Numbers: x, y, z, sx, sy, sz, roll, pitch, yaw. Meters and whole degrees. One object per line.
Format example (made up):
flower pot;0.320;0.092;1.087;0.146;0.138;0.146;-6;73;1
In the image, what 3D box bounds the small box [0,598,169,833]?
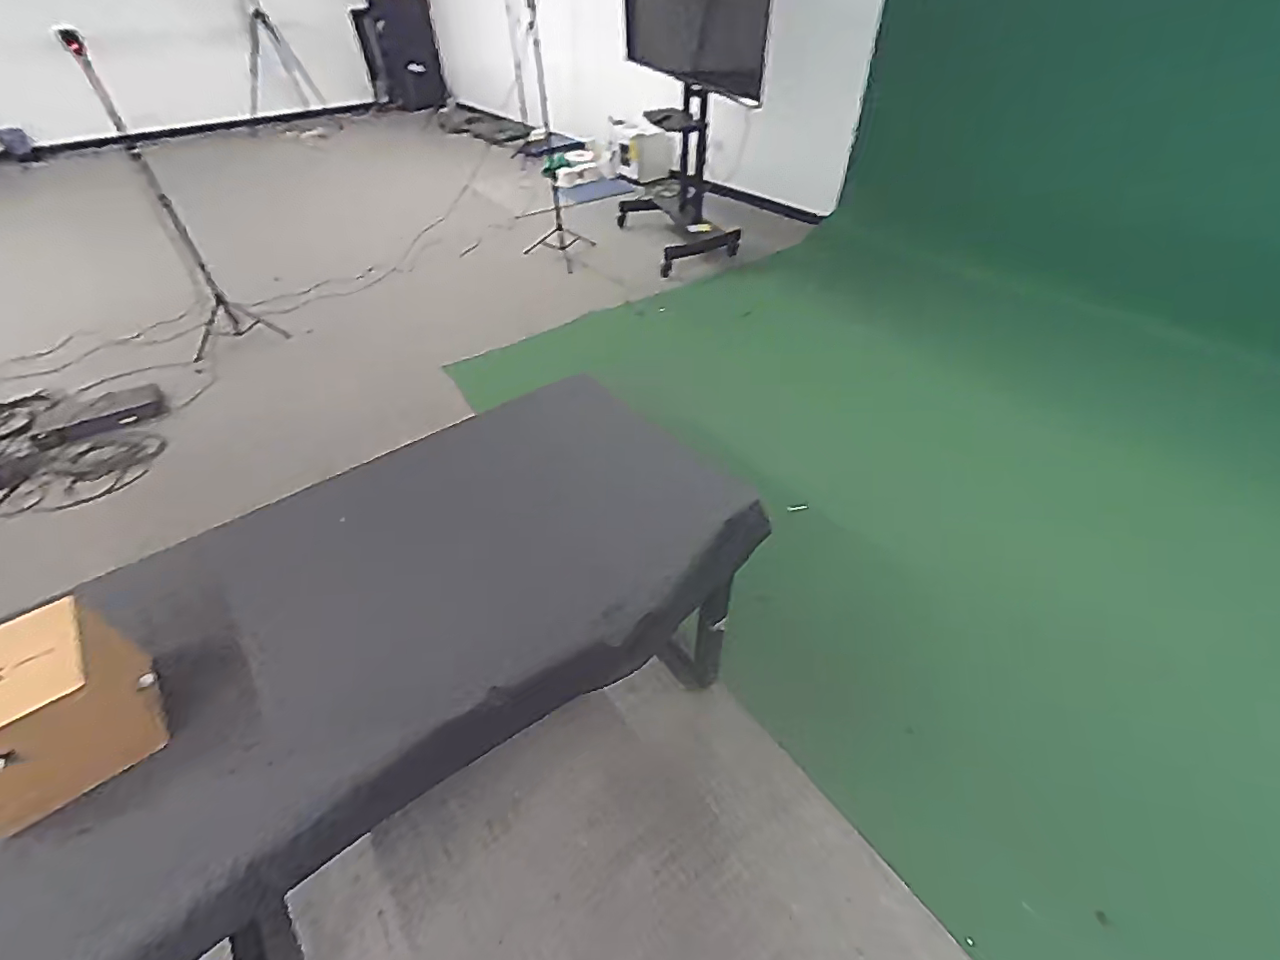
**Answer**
small box;-0.745;0.291;0.672;0.179;0.176;0.168;-30;51;-29
